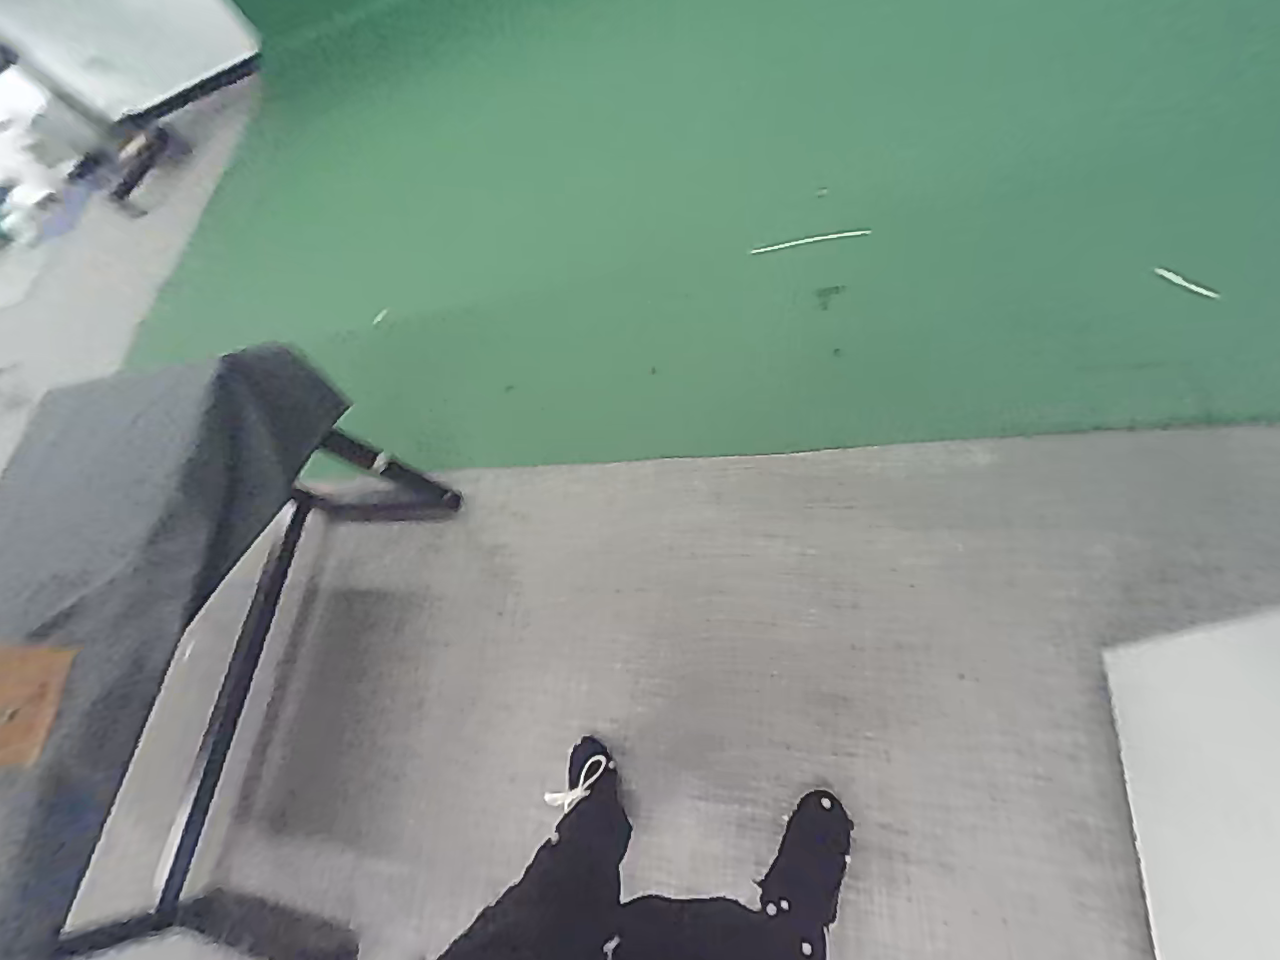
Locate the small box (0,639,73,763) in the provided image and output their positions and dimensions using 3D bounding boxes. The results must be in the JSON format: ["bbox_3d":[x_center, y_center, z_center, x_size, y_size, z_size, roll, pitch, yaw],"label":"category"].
[{"bbox_3d":[-0.988,0.318,0.771,0.179,0.176,0.168,-10,65,18],"label":"small box"}]
